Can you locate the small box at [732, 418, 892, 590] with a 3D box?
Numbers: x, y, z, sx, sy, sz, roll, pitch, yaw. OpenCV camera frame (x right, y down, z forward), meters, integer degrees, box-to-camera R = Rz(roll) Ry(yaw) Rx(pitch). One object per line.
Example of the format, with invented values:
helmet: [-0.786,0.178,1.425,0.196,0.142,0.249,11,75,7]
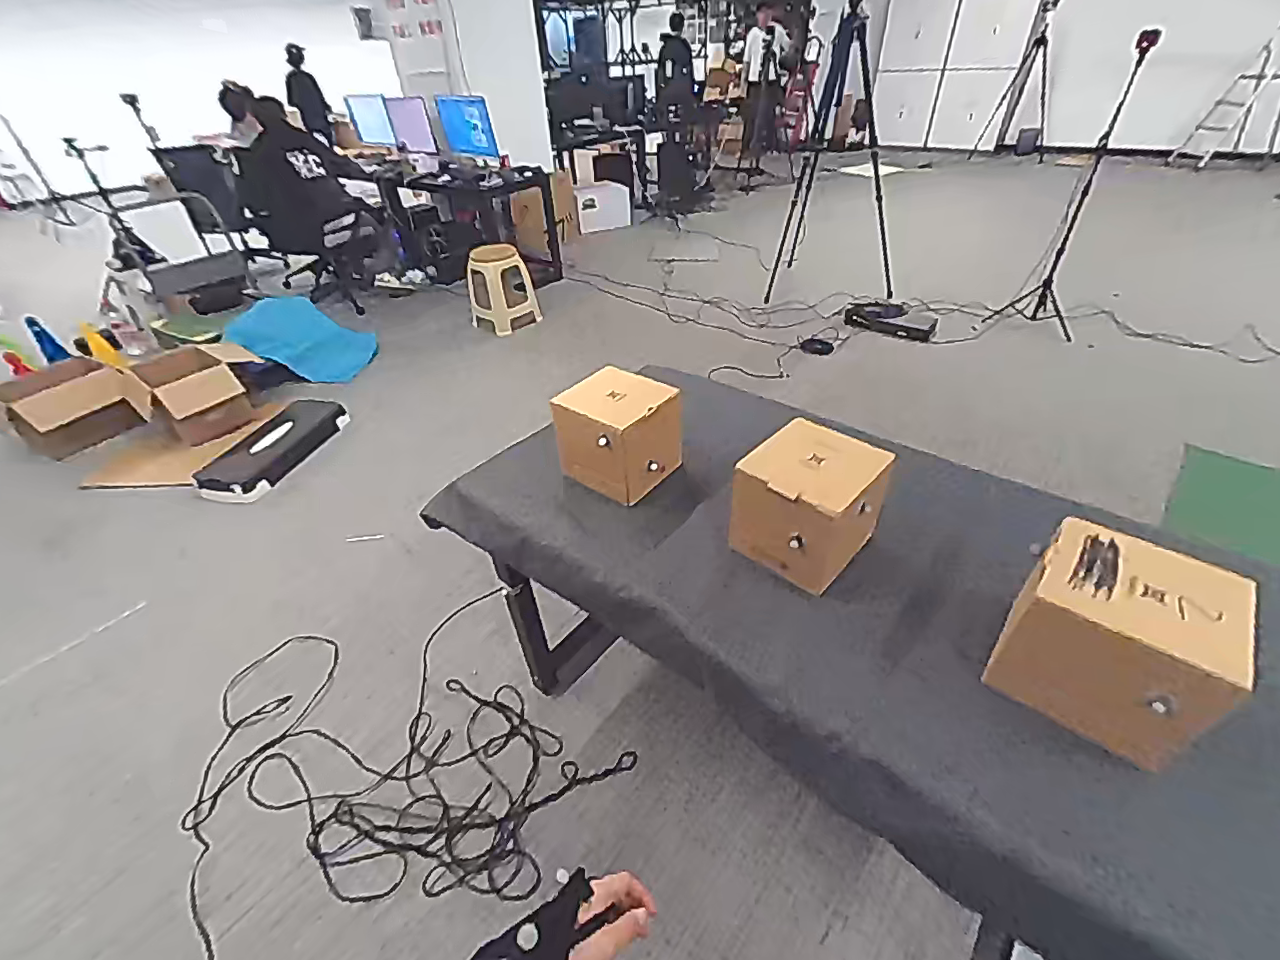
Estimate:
small box: [0.255,0.035,0.834,0.168,0.176,0.179,30,48,33]

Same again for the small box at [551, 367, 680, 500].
small box: [-0.042,-0.087,1.013,0.179,0.176,0.168,25,46,30]
